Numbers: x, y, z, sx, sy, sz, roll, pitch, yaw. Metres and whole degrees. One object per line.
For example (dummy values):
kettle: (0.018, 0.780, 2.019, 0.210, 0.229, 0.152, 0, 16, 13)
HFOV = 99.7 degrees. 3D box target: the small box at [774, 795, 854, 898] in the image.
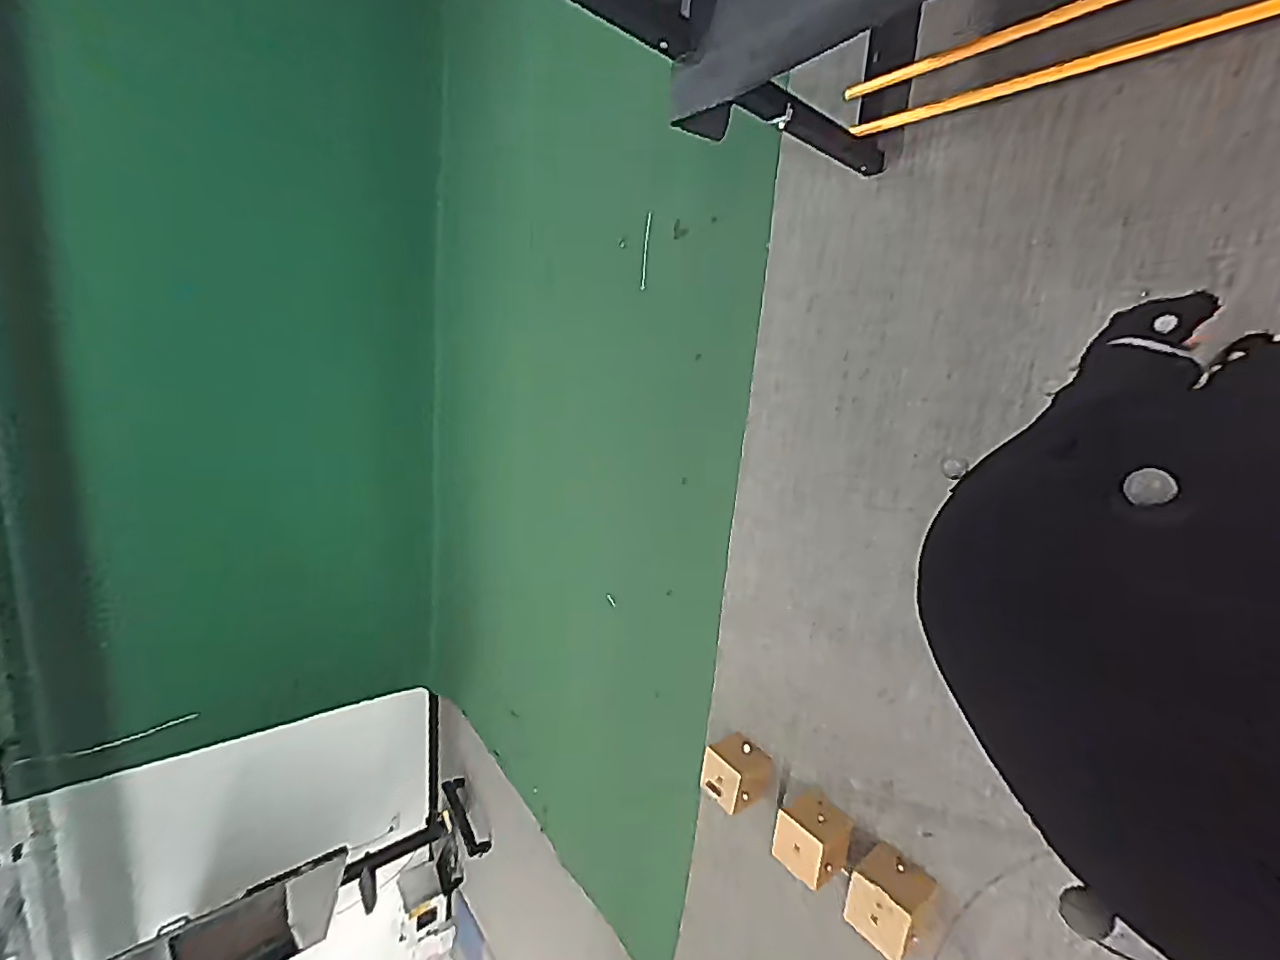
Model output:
small box: (0.551, 1.142, 1.702, 0.168, 0.176, 0.179, 18, 107, 49)

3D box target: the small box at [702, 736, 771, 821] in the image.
small box: (0.349, 1.068, 1.947, 0.168, 0.176, 0.179, 24, 110, 48)

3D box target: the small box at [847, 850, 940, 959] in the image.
small box: (0.707, 1.192, 1.506, 0.168, 0.176, 0.179, 19, 107, 48)
